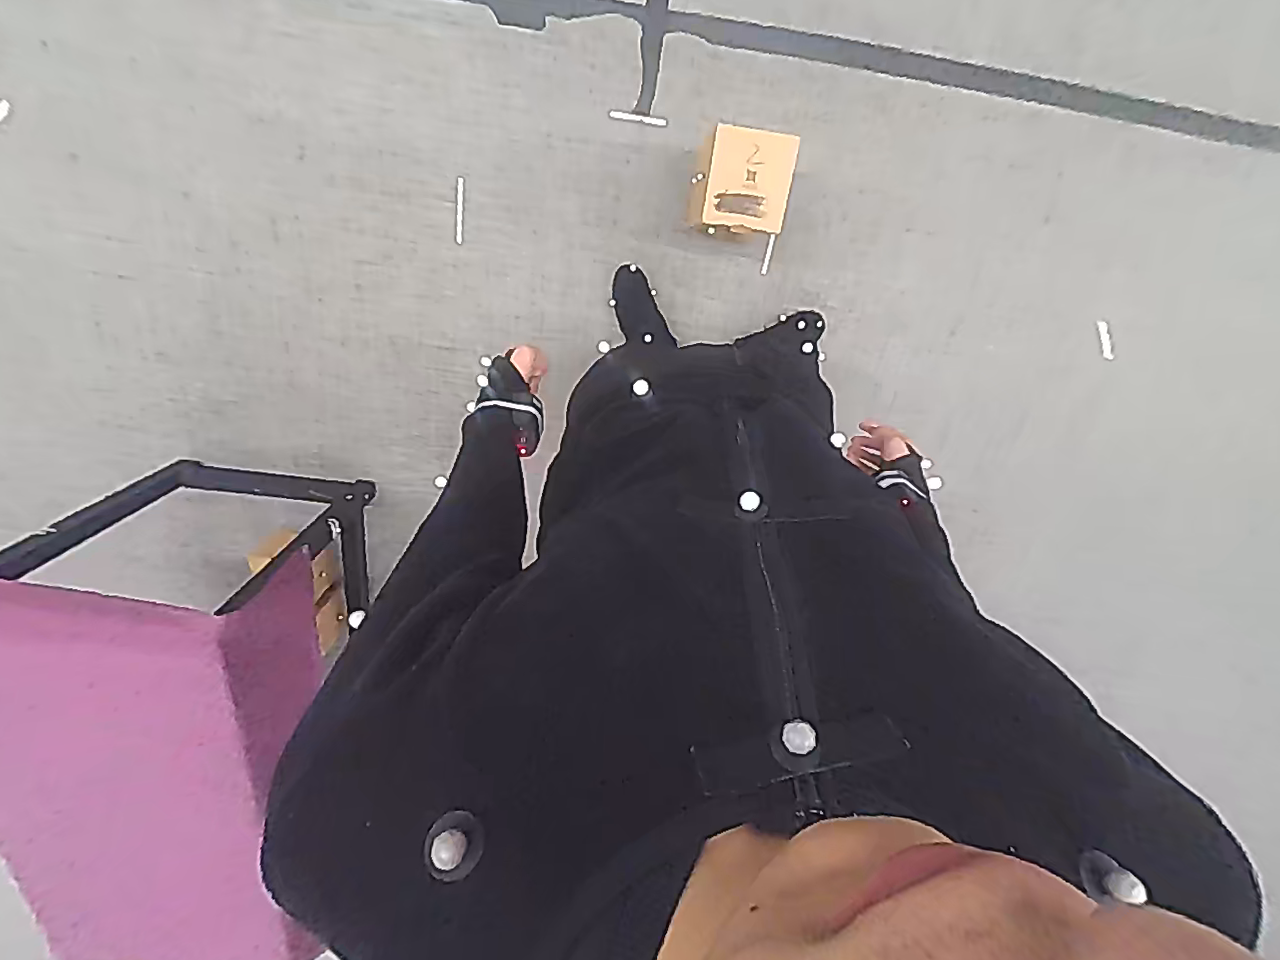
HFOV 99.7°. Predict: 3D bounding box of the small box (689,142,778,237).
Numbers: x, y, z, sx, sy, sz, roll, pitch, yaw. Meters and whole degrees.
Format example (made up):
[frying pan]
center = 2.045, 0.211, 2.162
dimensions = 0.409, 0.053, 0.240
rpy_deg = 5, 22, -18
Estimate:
[small box]
center = 0.213, -0.686, 1.290
dimensions = 0.168, 0.176, 0.179
rpy_deg = 5, 116, -3
